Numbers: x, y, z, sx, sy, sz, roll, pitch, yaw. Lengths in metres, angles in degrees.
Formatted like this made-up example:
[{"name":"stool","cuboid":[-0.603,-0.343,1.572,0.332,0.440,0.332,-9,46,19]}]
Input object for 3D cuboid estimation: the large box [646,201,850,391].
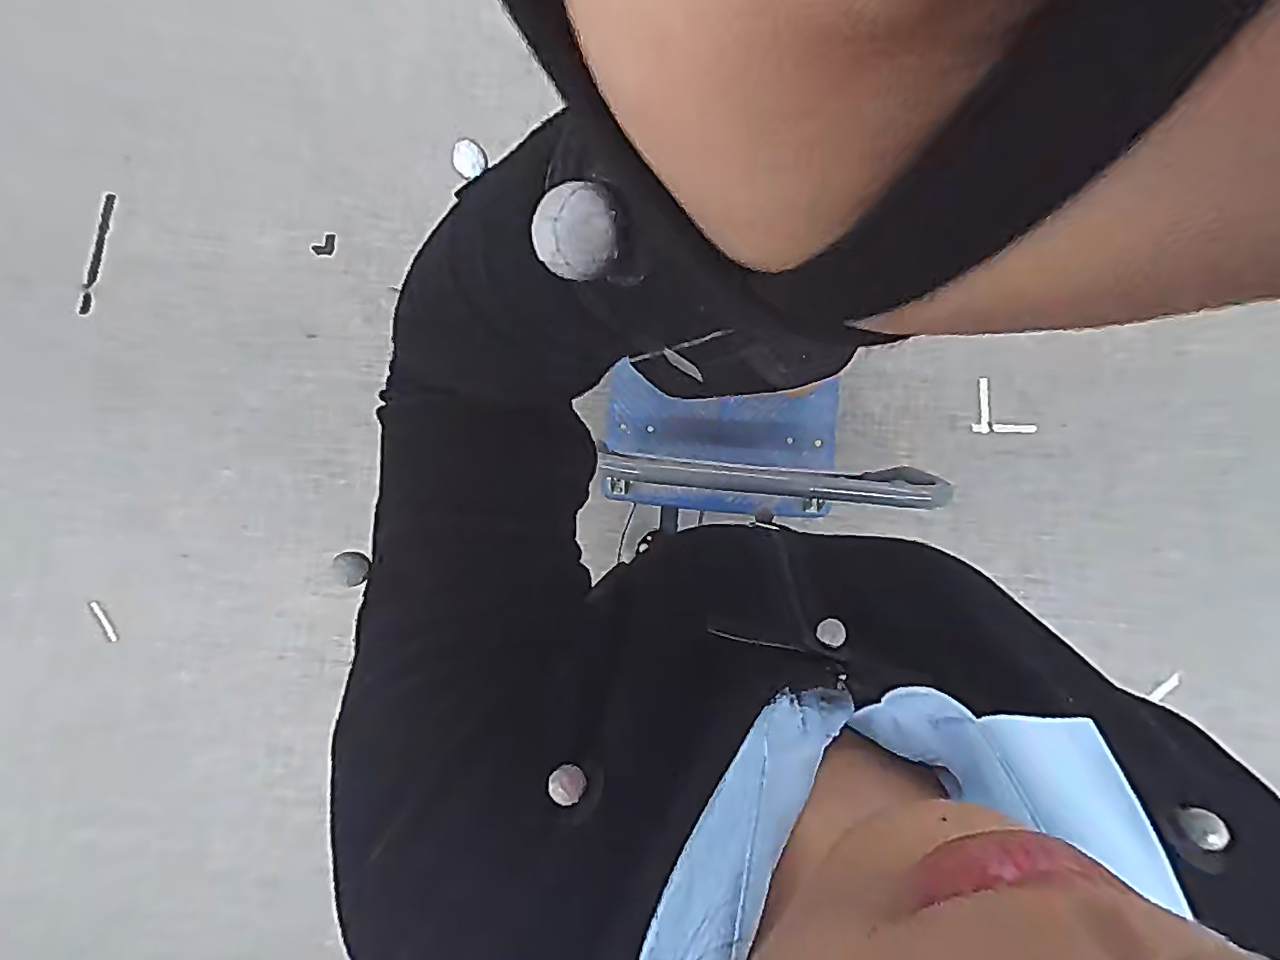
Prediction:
[{"name":"large box","cuboid":[0.235,-0.407,1.259,0.408,0.320,0.320,6,83,5]}]
